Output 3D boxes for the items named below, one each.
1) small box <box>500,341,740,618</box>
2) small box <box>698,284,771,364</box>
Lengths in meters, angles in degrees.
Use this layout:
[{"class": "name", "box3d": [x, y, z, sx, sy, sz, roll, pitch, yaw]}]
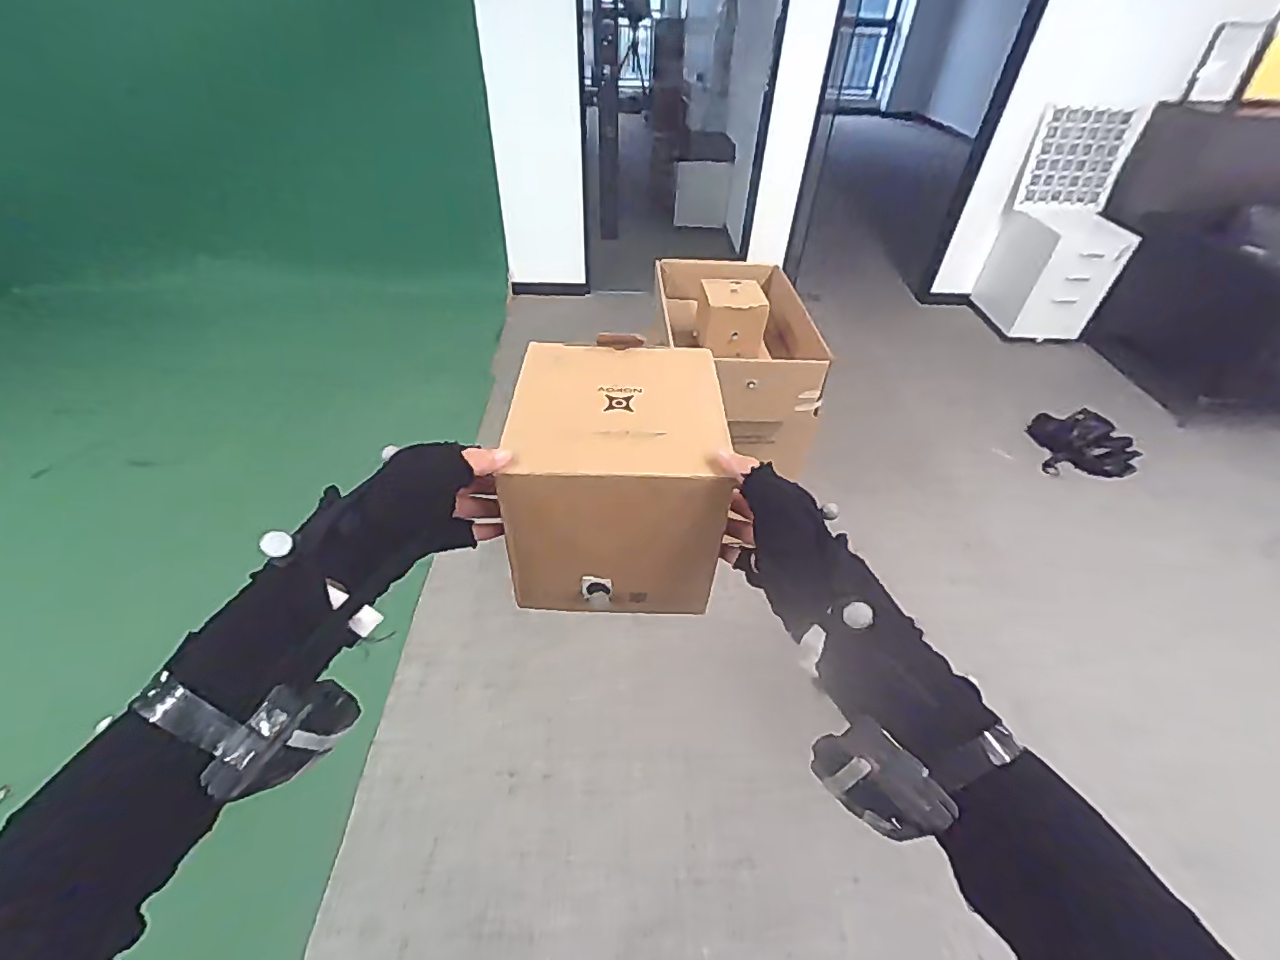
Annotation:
[{"class": "small box", "box3d": [-0.017, -0.002, 0.477, 0.168, 0.176, 0.179, 2, 43, -2]}, {"class": "small box", "box3d": [0.264, -0.446, 1.555, 0.168, 0.176, 0.179, 0, 43, -4]}]
